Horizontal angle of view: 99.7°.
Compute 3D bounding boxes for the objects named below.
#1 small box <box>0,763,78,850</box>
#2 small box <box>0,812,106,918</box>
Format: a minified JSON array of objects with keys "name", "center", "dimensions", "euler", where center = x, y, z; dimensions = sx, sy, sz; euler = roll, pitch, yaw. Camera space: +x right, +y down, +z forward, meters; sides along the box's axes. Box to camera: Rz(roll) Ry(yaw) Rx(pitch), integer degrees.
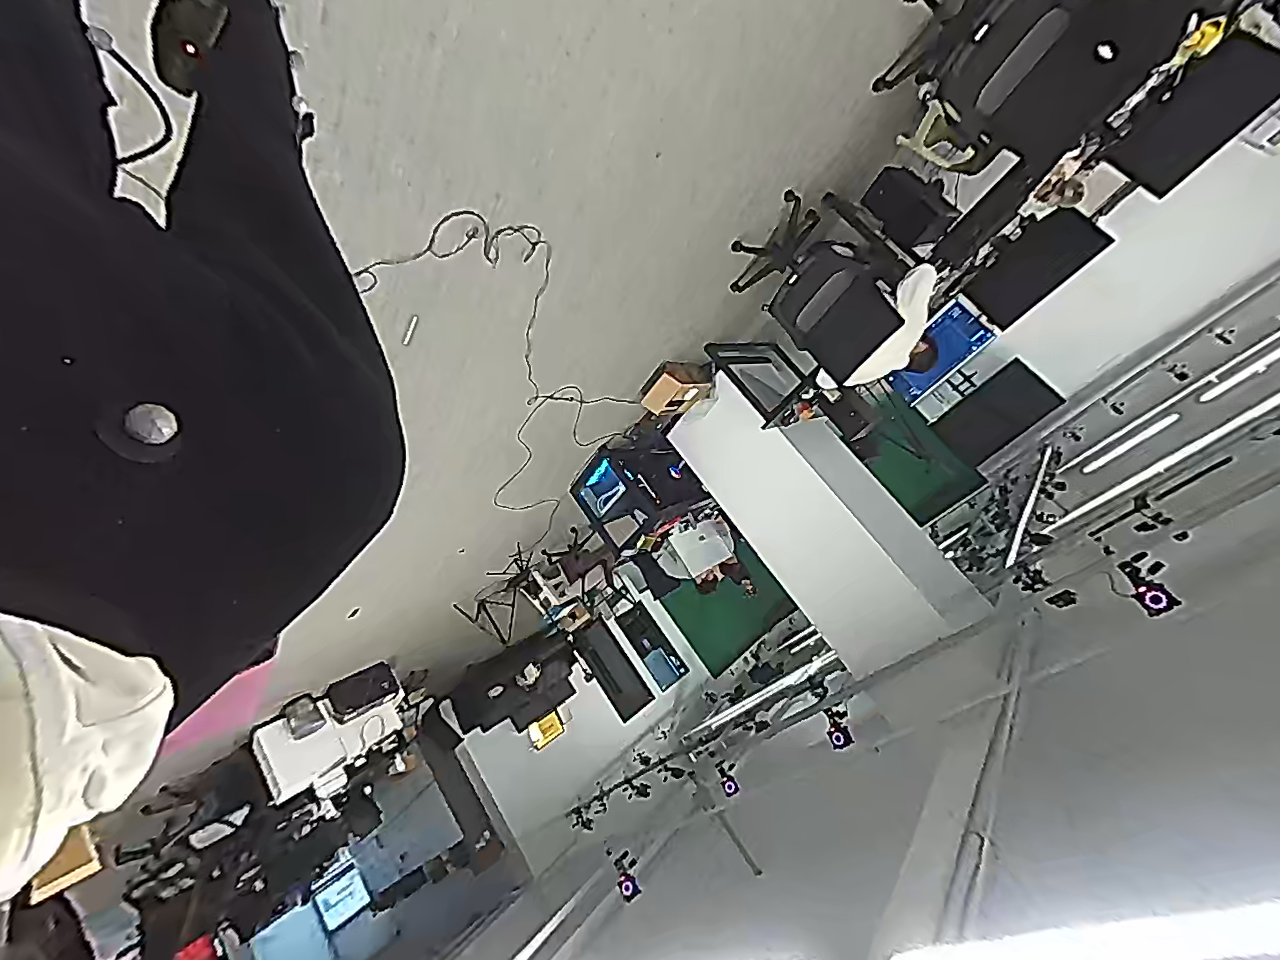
[{"name":"small box","center":[-1.762,0.959,1.557],"dimensions":[0.179,0.176,0.168],"euler":[-17,156,-47]},{"name":"small box","center":[-1.652,1.075,1.519],"dimensions":[0.179,0.176,0.168],"euler":[-18,156,-47]}]
